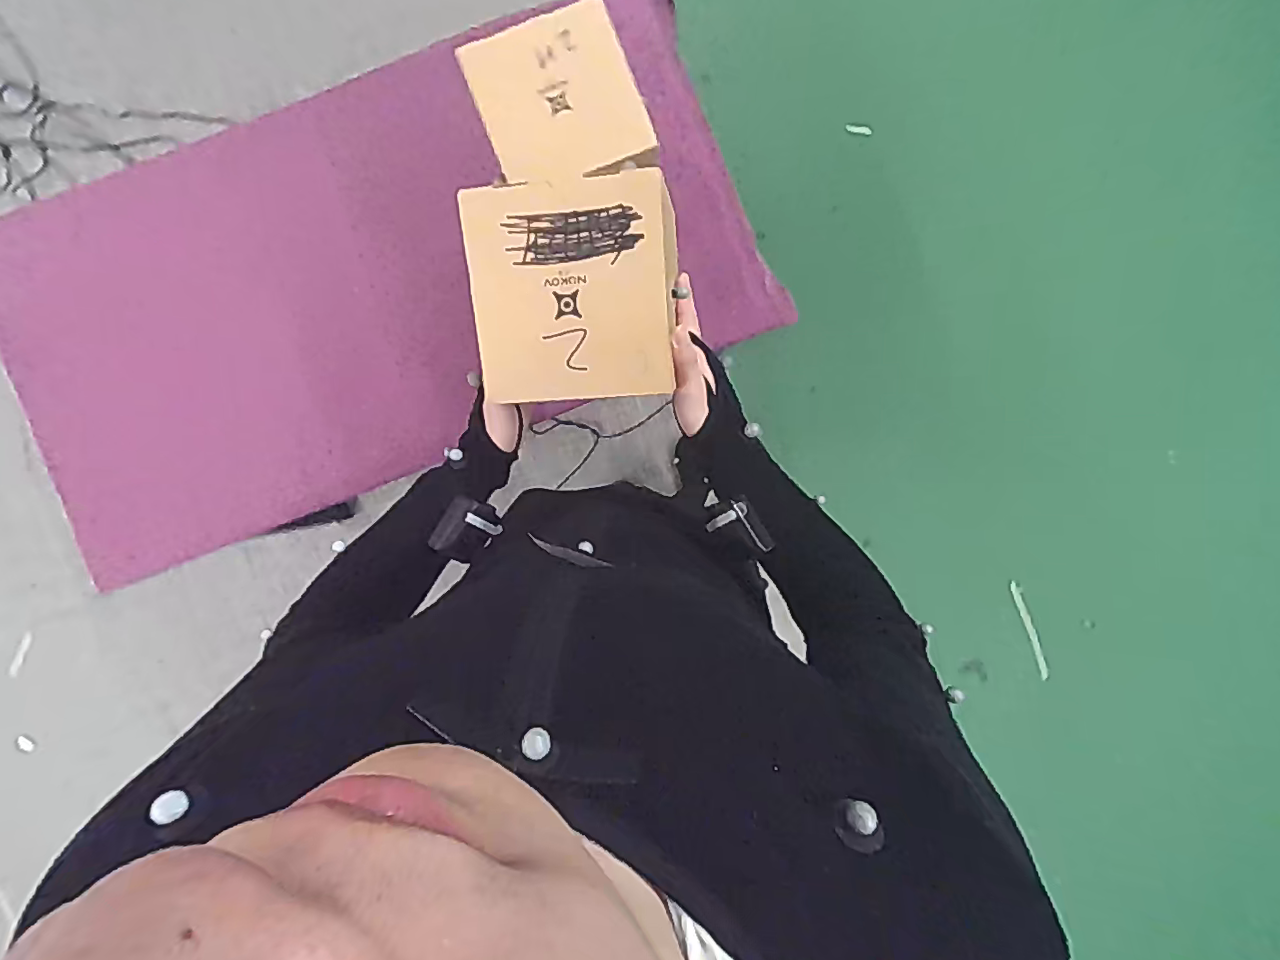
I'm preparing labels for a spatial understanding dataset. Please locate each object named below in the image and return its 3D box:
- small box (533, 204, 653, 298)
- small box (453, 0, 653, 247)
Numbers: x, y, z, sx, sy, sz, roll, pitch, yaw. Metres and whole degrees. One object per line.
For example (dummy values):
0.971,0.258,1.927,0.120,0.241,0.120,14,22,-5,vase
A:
-0.089,-0.405,0.809,0.168,0.176,0.179,-23,90,1,small box
-0.090,-0.404,0.644,0.168,0.176,0.179,-21,90,-1,small box
